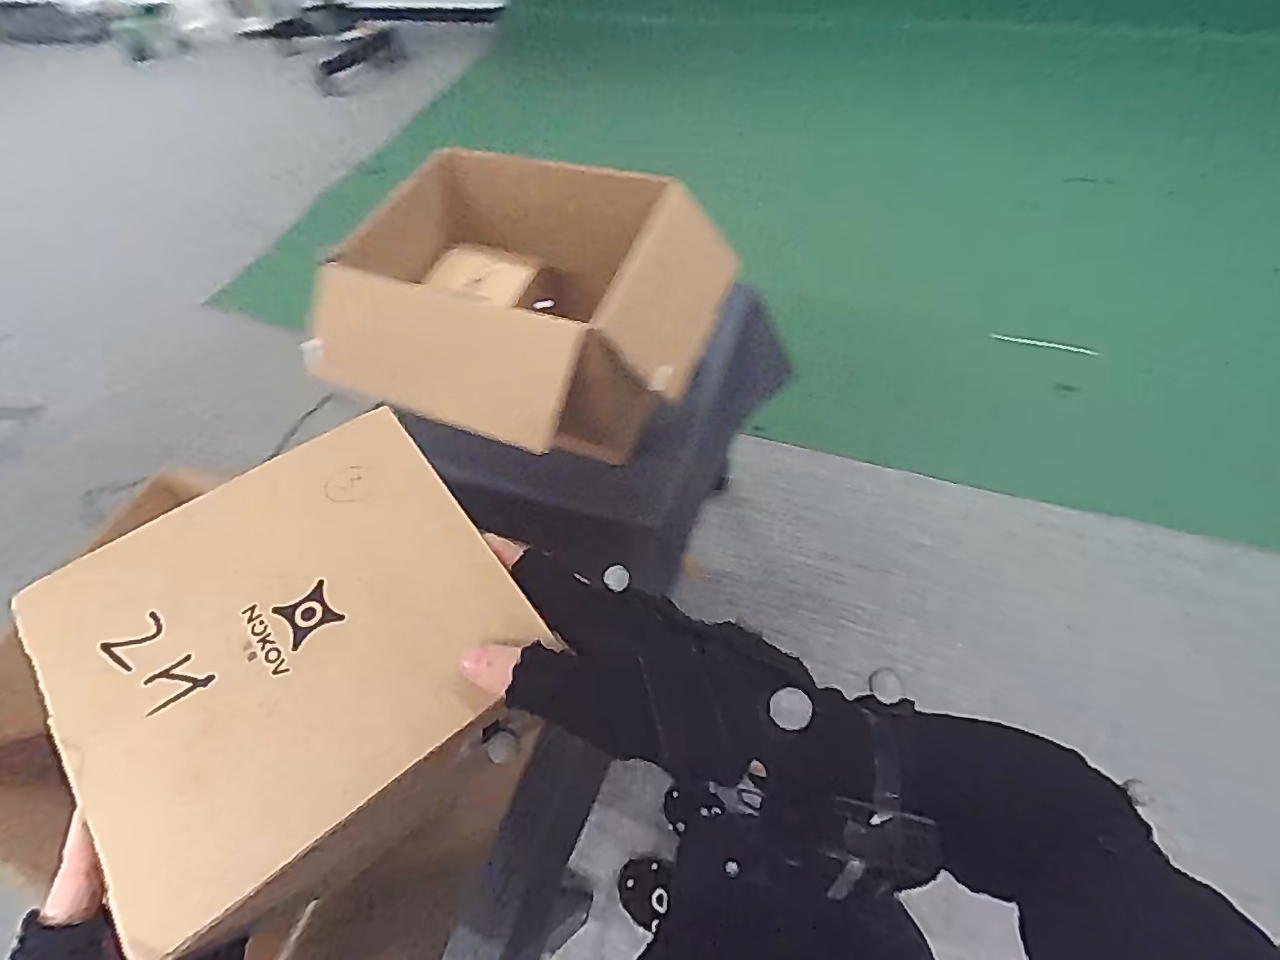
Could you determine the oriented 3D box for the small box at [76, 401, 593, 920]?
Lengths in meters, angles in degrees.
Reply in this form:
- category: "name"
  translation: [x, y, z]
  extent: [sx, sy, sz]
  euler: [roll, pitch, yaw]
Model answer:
- category: "small box"
  translation: [-0.145, 0.092, 0.317]
  extent: [0.179, 0.176, 0.168]
  euler: [-32, 70, -20]
